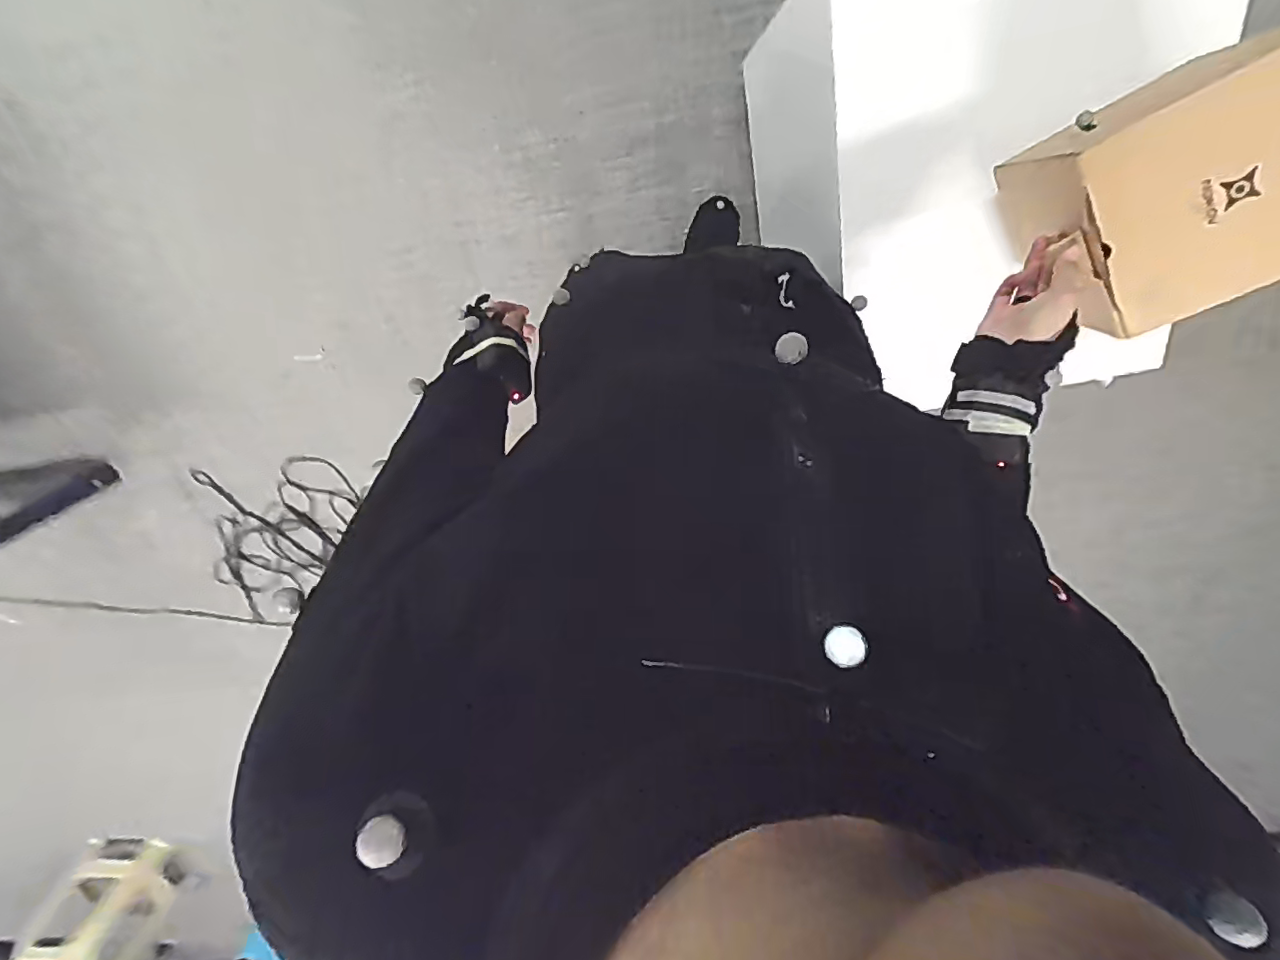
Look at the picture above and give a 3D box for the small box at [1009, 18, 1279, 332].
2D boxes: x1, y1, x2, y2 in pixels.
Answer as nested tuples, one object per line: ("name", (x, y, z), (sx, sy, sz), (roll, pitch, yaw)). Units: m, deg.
("small box", (0.459, -0.256, 0.473), (0.179, 0.176, 0.168), (-26, 109, 22))
